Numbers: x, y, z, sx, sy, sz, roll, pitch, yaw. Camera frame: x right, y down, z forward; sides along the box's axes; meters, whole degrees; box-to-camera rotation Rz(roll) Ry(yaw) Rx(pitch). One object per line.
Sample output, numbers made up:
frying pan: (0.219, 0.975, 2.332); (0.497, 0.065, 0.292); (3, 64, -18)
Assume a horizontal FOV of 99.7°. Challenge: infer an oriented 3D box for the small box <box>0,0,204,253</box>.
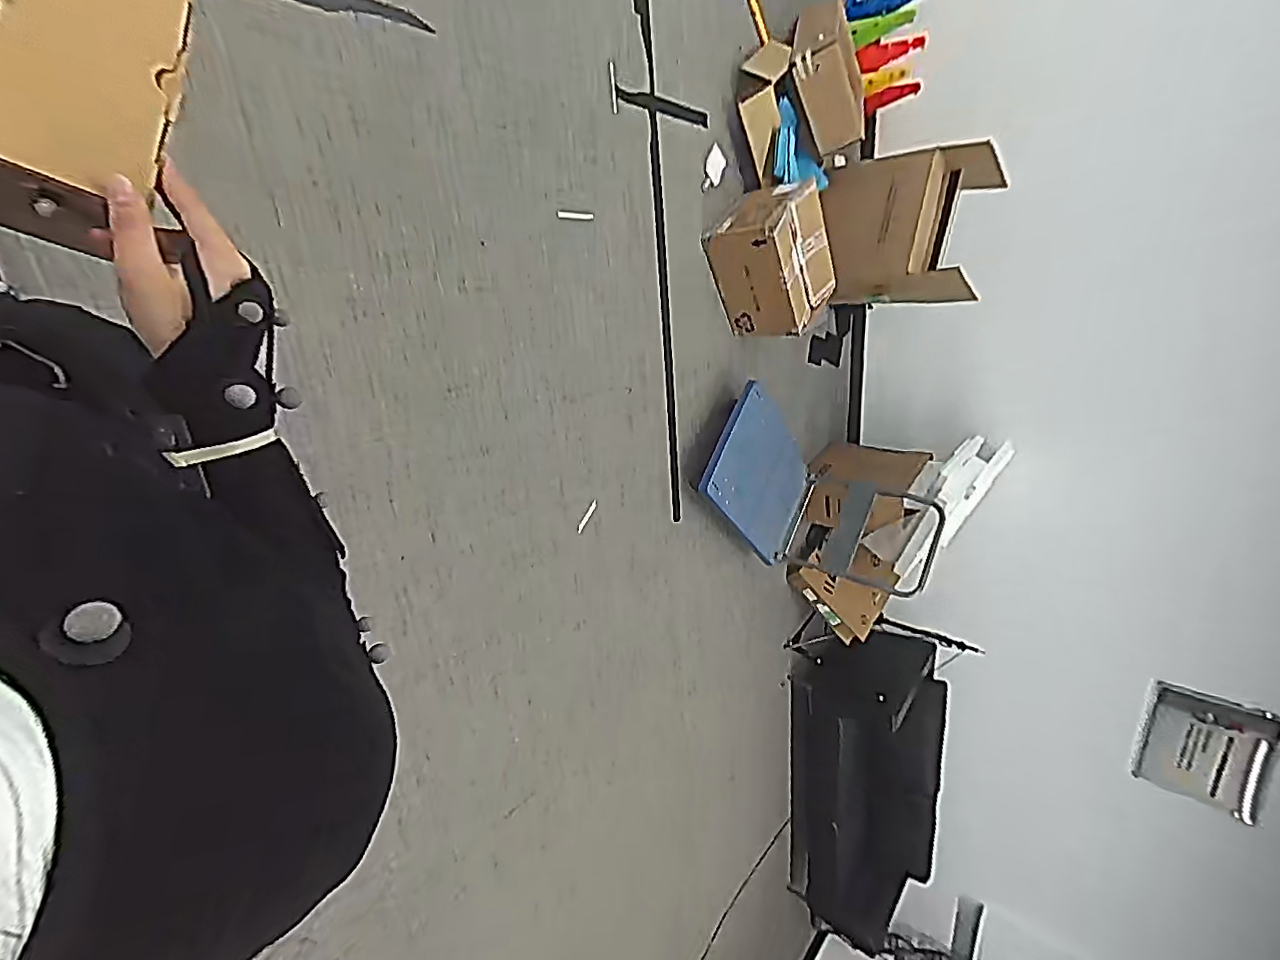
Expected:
small box: (-0.397, -0.259, 0.322); (0.179, 0.176, 0.168); (13, 86, -48)
